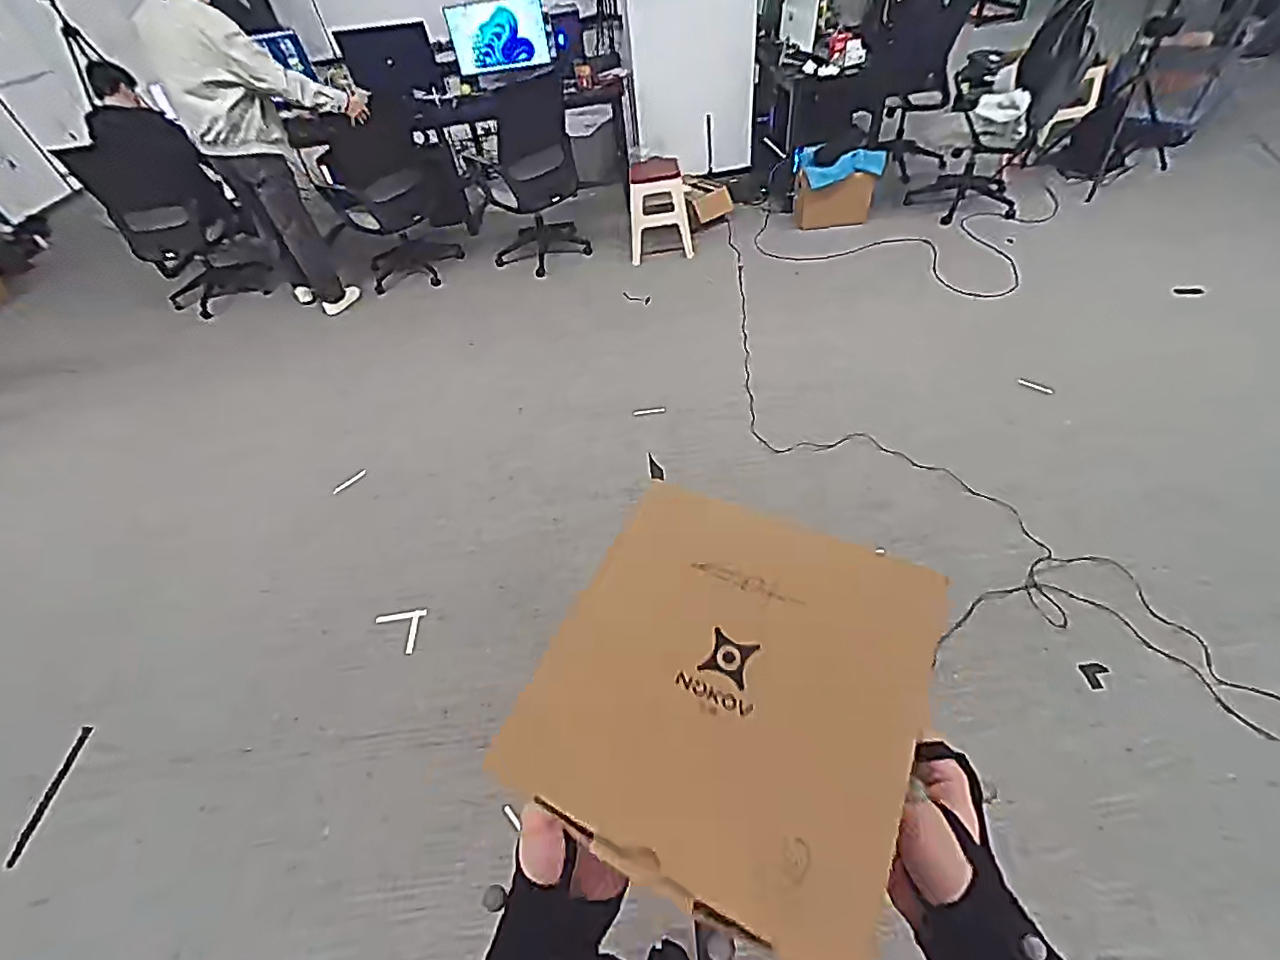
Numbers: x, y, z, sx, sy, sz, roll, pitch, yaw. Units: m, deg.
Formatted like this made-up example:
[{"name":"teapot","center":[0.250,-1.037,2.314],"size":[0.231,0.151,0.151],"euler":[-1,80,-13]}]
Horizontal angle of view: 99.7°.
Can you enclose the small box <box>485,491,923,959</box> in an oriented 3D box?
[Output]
[{"name":"small box","center":[0.047,0.141,0.325],"size":[0.168,0.176,0.179],"euler":[18,55,22]}]
